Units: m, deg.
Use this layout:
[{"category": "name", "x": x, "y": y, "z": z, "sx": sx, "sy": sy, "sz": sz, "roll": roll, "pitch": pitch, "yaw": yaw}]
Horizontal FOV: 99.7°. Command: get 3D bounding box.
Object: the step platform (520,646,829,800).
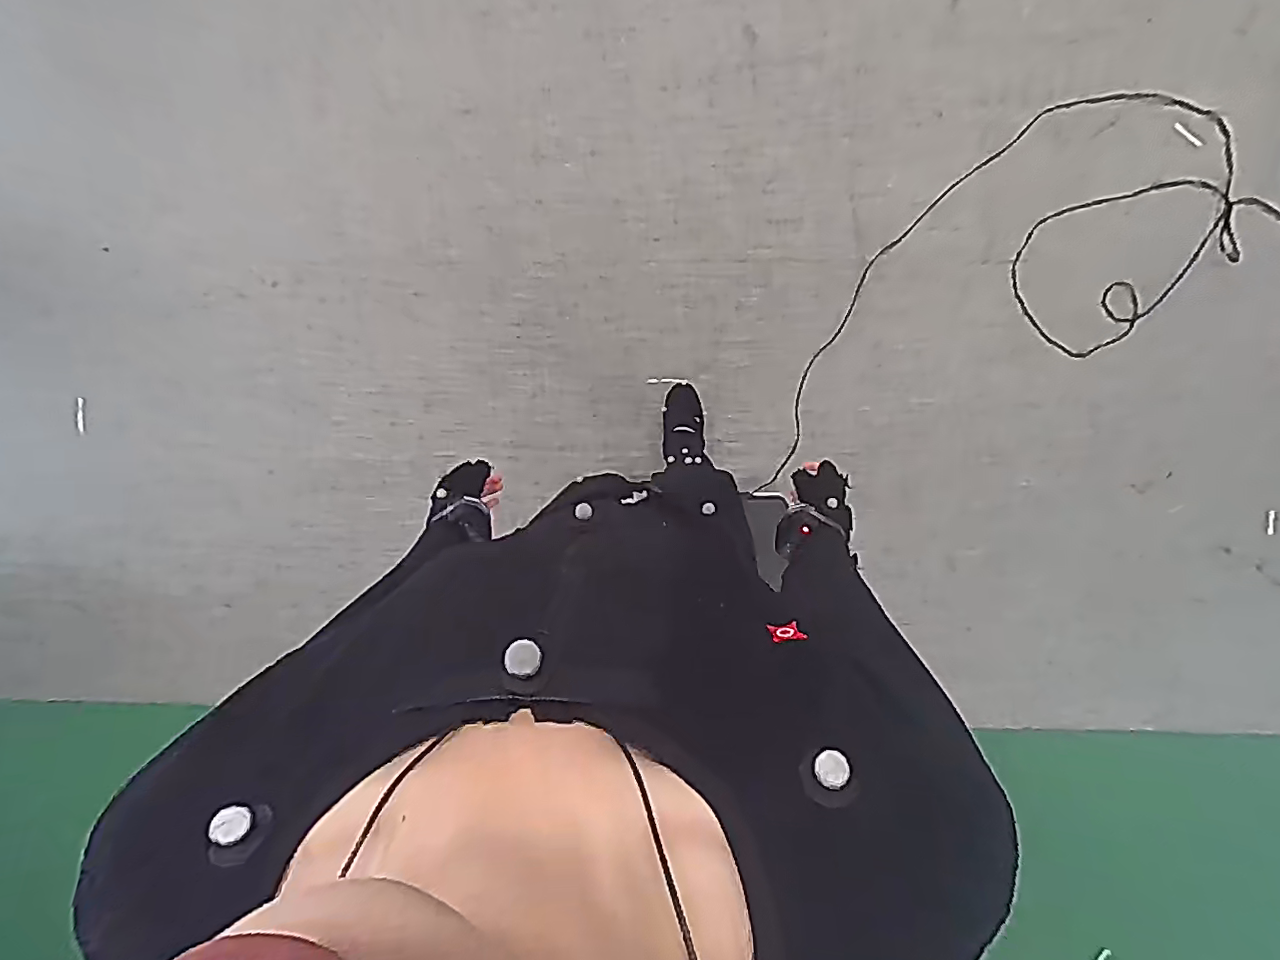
[{"category": "step platform", "x": 0.076, "y": 0.556, "z": 1.278, "sx": 0.684, "sy": 0.204, "sz": 0.286, "roll": 0, "pitch": 93, "yaw": 1}]
